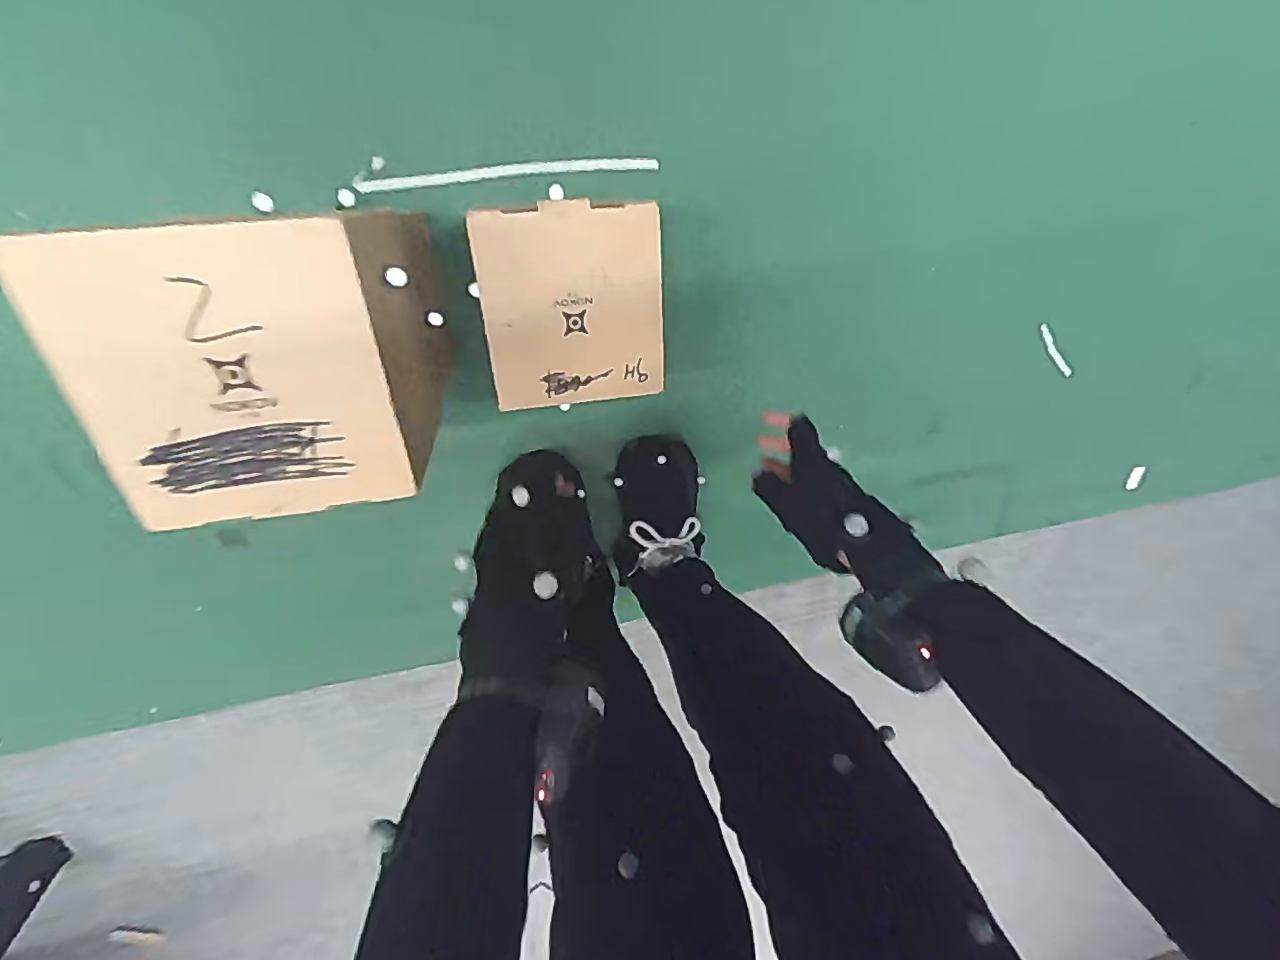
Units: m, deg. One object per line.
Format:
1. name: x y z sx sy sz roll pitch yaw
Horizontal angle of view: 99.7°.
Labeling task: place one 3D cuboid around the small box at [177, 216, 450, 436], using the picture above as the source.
1. small box: -0.293 -0.161 0.538 0.168 0.176 0.179 -6 119 -11
